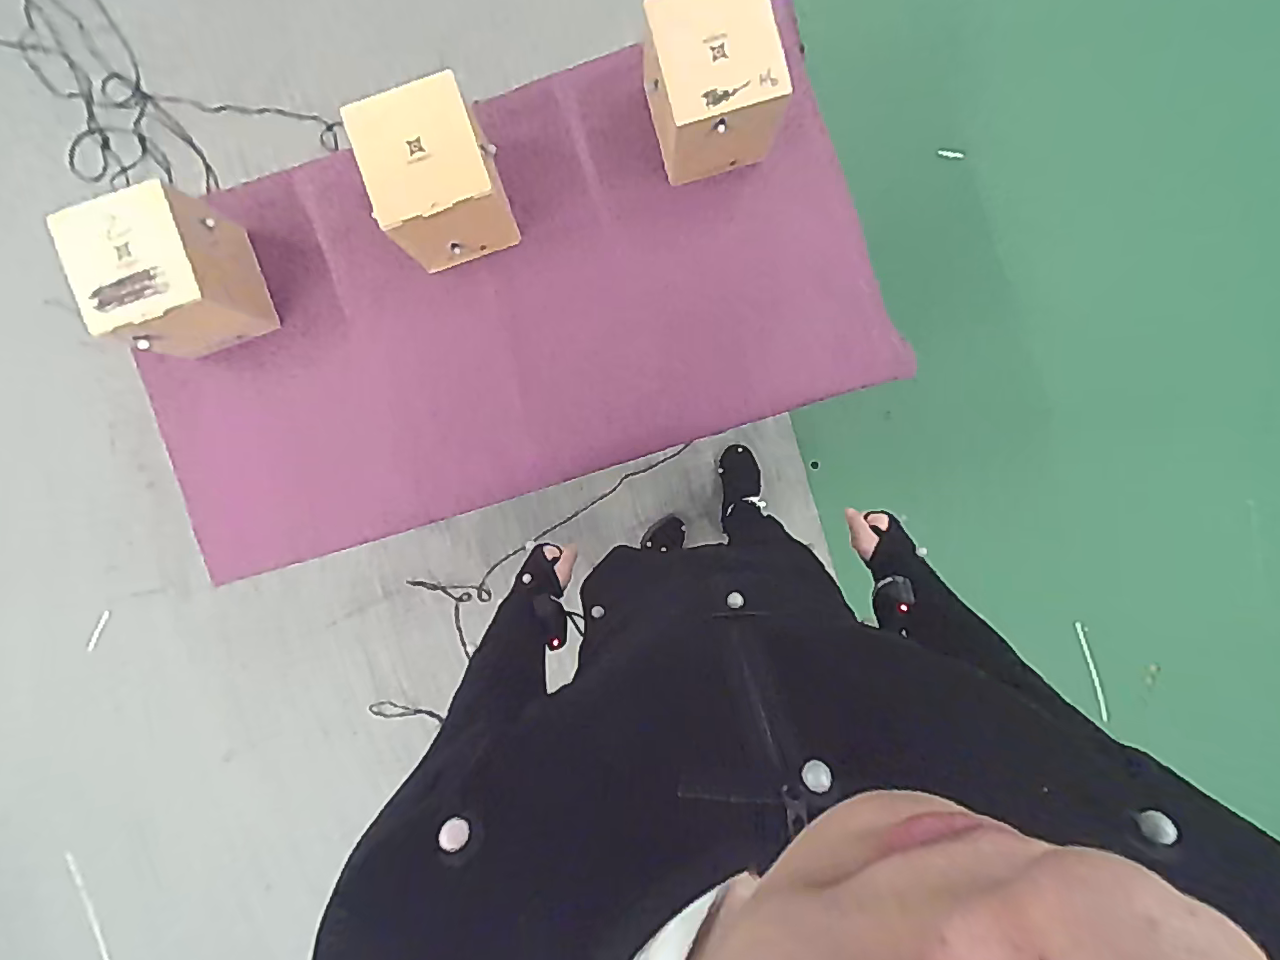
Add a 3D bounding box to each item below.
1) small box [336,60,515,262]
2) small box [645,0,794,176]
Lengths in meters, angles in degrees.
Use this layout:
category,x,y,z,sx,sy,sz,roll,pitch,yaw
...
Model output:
category,x,y,z,sx,sy,sz,roll,pitch,yaw
small box,-0.302,-0.456,0.800,0.168,0.176,0.179,-19,93,0
small box,0.105,-0.590,0.793,0.168,0.176,0.179,-15,92,2
